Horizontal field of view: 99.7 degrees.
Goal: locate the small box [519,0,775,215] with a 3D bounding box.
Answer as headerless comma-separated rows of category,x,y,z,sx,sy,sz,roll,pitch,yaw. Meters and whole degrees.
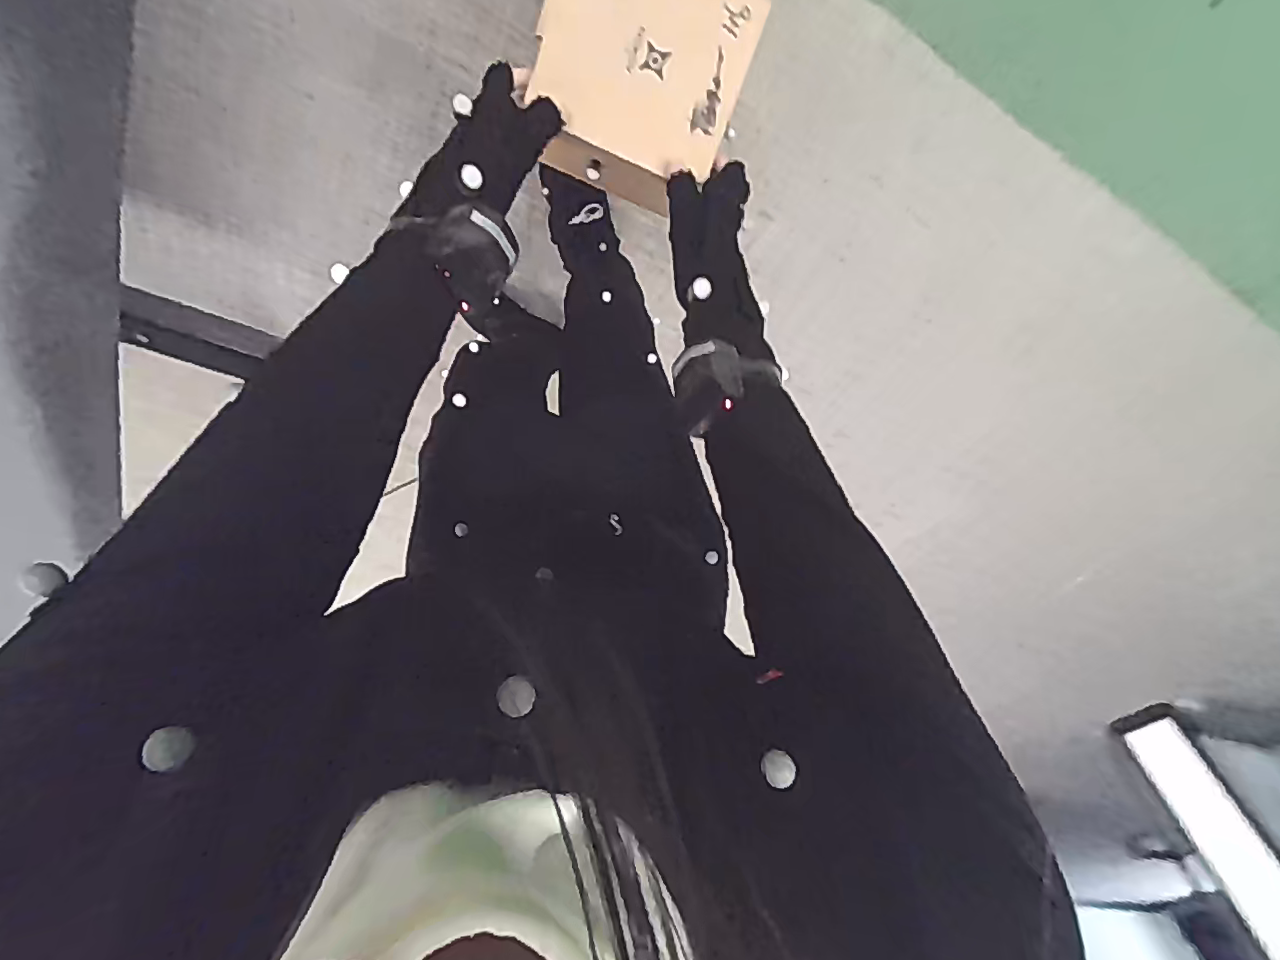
small box,-0.002,-0.383,0.535,0.179,0.176,0.168,20,106,-12
